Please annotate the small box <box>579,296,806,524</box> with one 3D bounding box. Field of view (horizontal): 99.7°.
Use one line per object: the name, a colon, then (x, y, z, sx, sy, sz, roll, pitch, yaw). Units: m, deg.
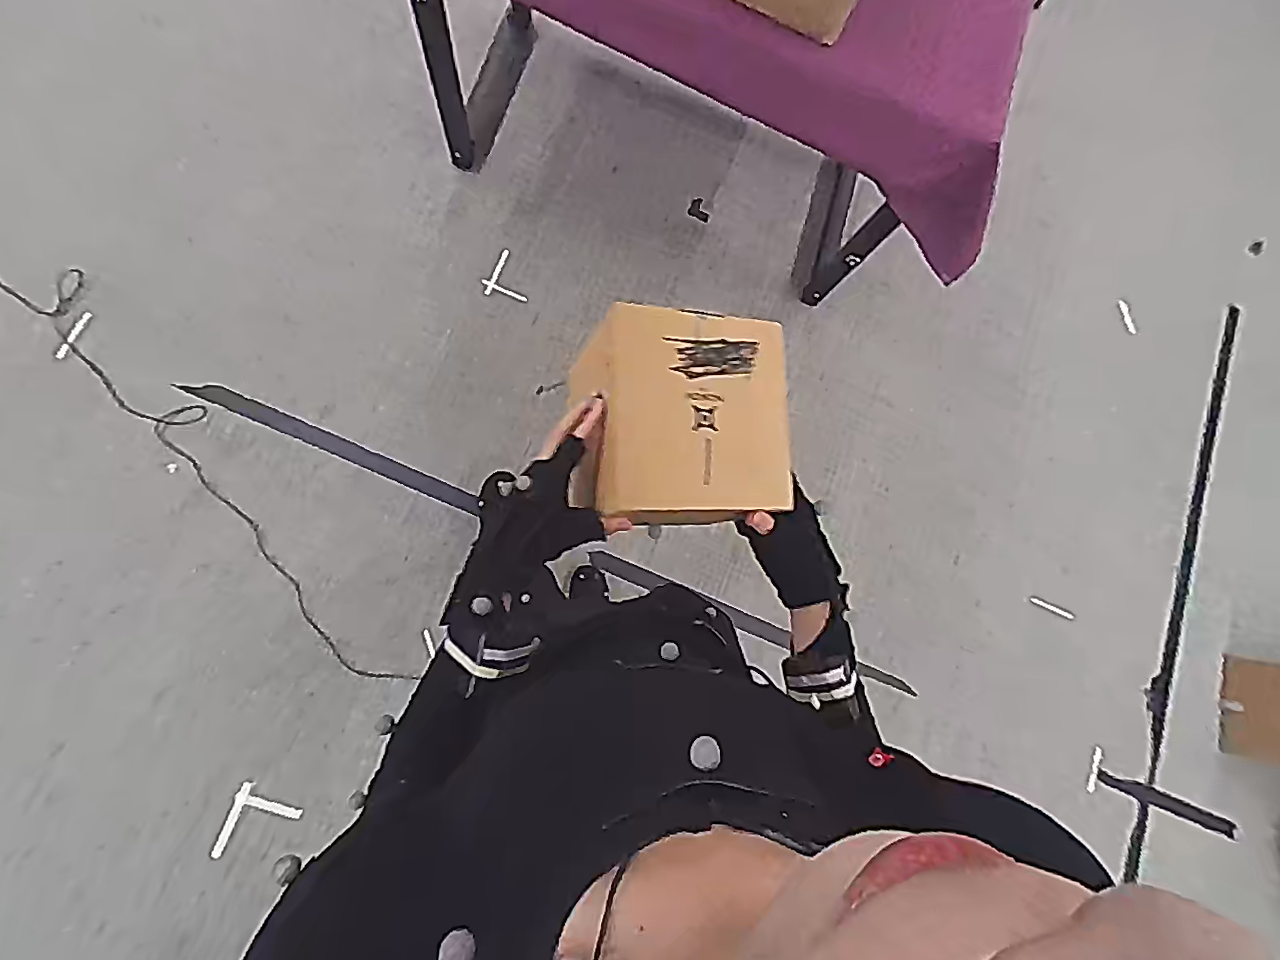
small box: (0.038, -0.052, 0.531, 0.168, 0.176, 0.179, 1, 81, -20)
